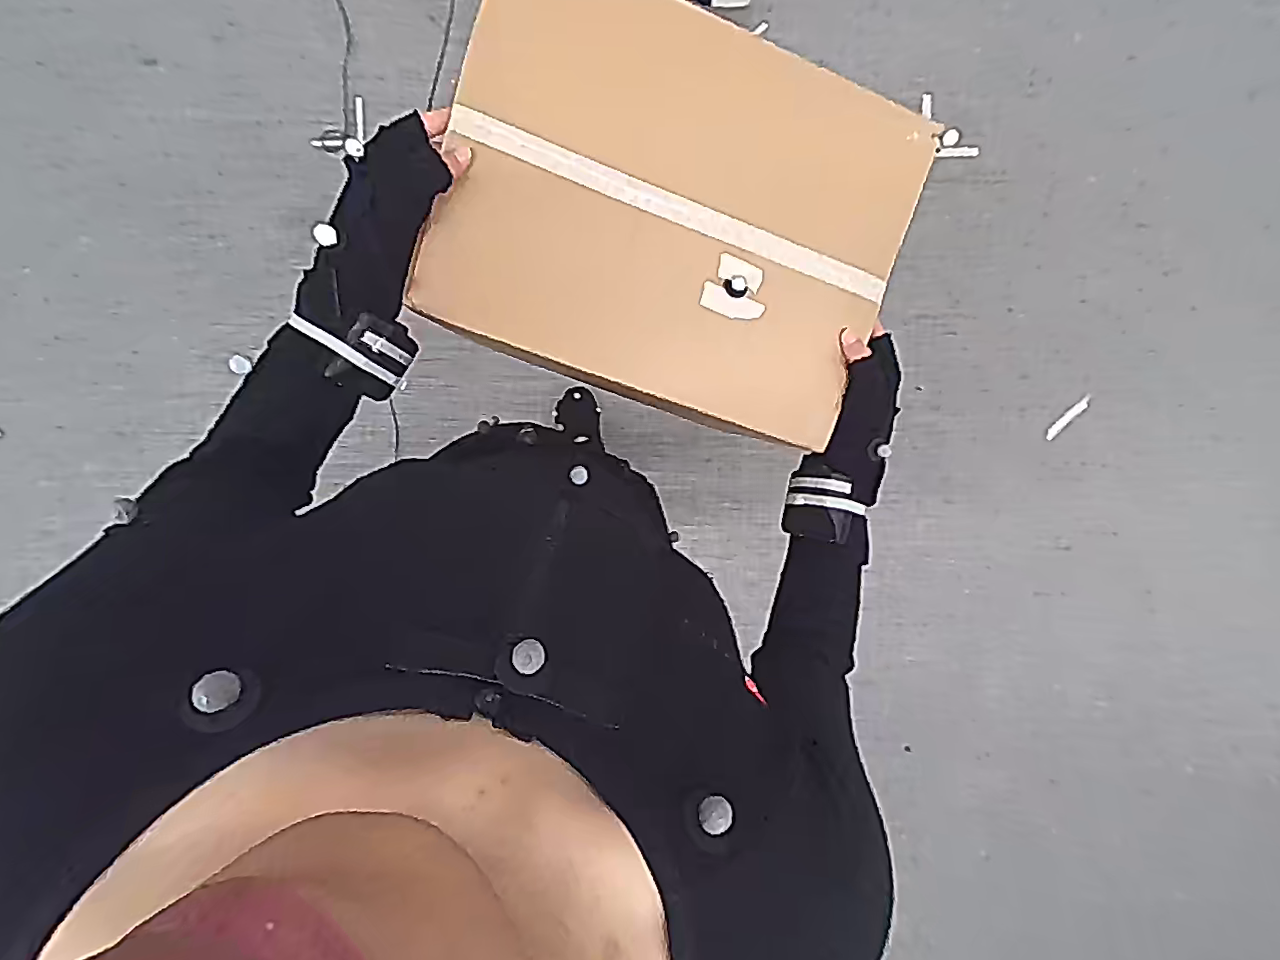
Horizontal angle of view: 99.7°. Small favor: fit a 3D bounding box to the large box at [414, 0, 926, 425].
[{"bbox_3d":[0.015,-0.269,0.626,0.408,0.320,0.320,17,96,-9],"label":"large box"}]
